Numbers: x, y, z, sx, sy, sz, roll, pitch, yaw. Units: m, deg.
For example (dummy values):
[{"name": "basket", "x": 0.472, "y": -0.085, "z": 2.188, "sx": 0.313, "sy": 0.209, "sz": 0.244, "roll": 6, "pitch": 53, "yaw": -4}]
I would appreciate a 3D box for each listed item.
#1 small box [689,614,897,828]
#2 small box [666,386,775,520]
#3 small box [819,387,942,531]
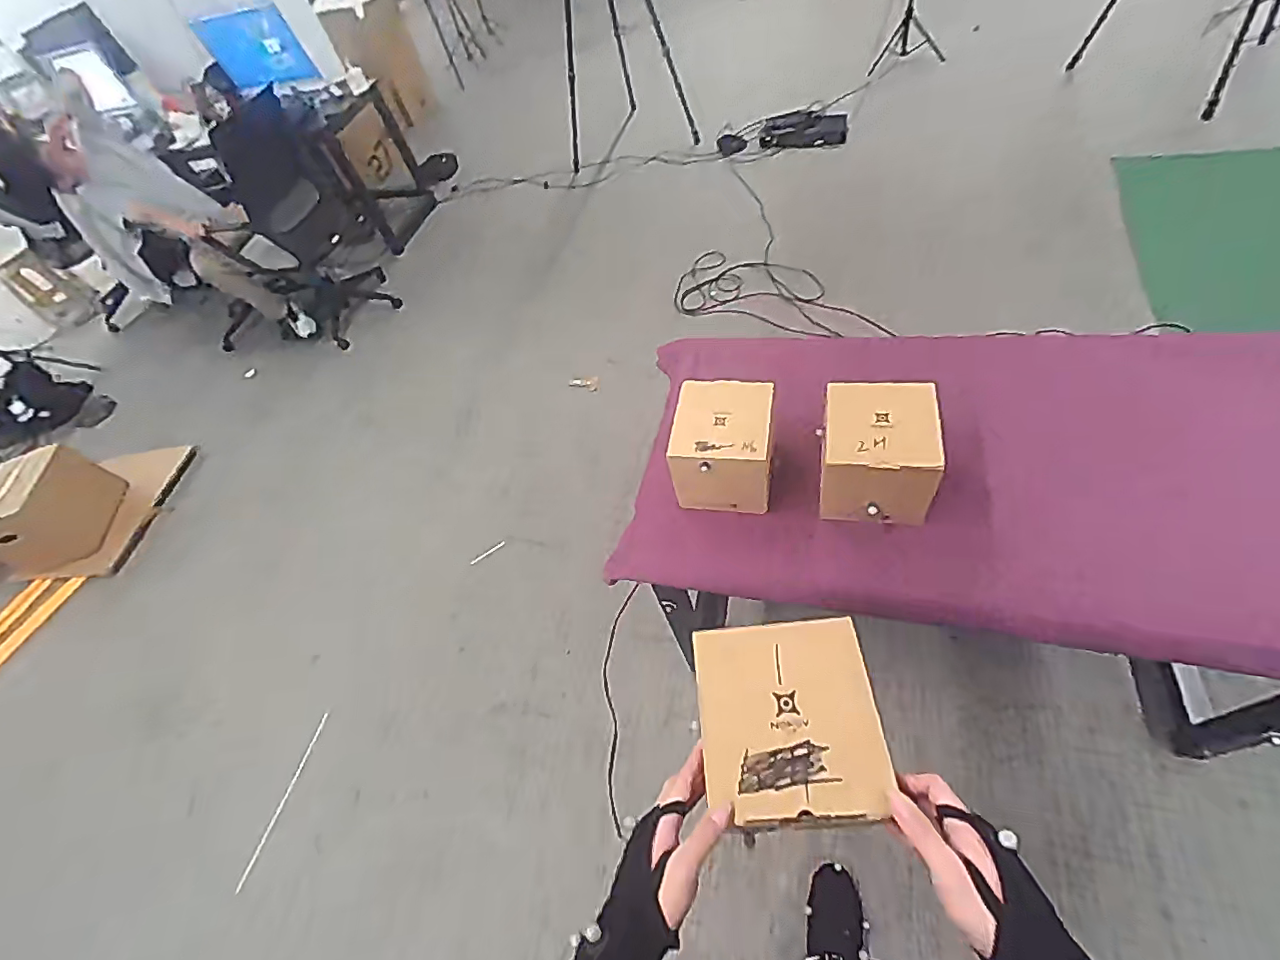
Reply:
[{"name": "small box", "x": 0.148, "y": 0.261, "z": 0.571, "sx": 0.168, "sy": 0.176, "sz": 0.179, "roll": -8, "pitch": 53, "yaw": 7}, {"name": "small box", "x": 0.154, "y": -0.050, "z": 0.985, "sx": 0.168, "sy": 0.176, "sz": 0.179, "roll": 3, "pitch": 55, "yaw": 18}, {"name": "small box", "x": 0.395, "y": -0.036, "z": 0.915, "sx": 0.168, "sy": 0.176, "sz": 0.179, "roll": 3, "pitch": 56, "yaw": 17}]
